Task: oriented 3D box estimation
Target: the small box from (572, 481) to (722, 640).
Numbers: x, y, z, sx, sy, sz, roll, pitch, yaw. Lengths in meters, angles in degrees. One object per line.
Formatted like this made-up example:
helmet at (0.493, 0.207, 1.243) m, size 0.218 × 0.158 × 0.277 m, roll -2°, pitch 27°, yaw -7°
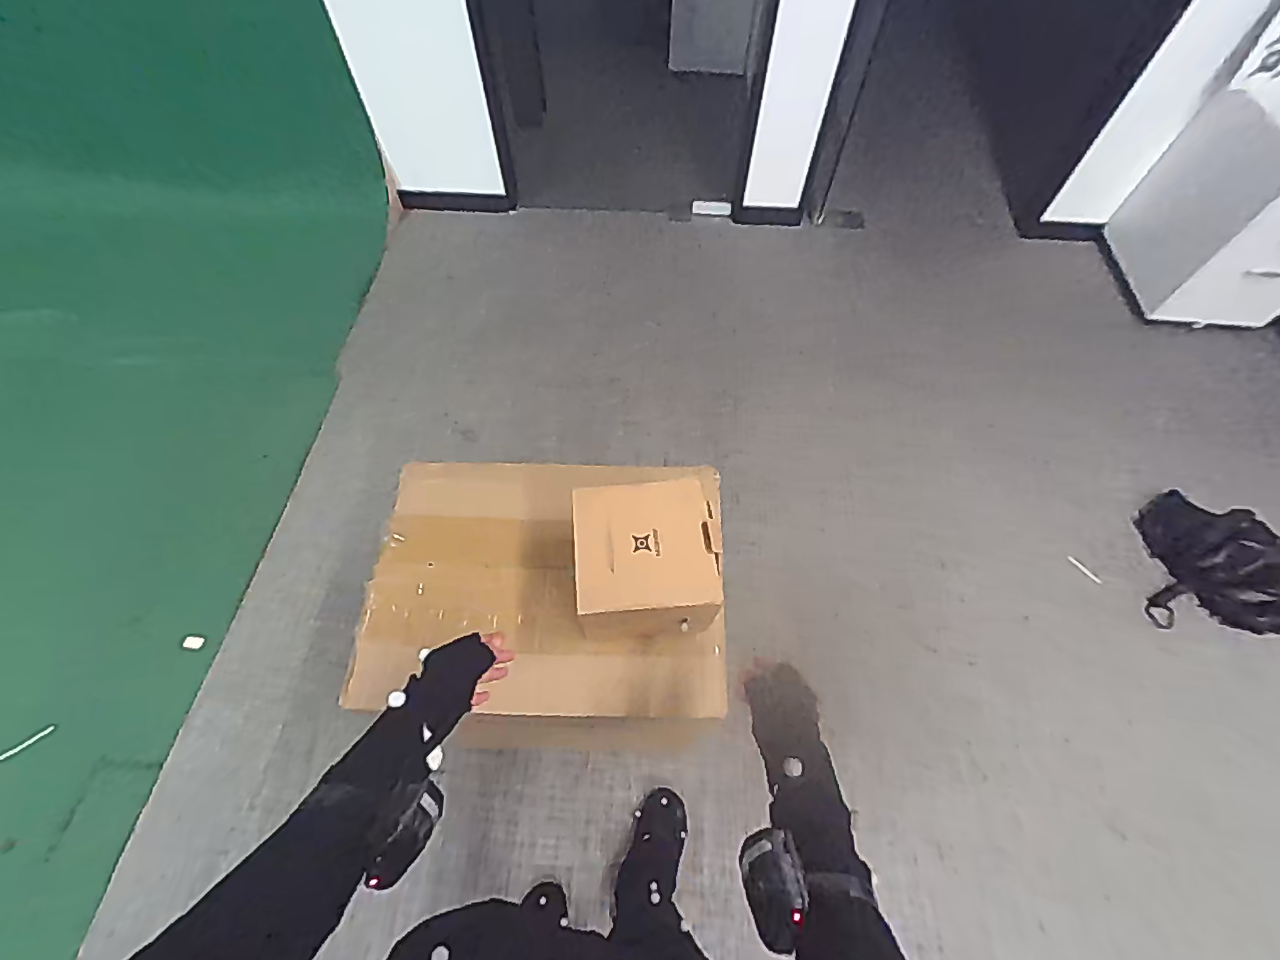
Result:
small box at (0.005, 0.116, 0.743) m, size 0.179 × 0.176 × 0.168 m, roll -6°, pitch 63°, yaw -2°
